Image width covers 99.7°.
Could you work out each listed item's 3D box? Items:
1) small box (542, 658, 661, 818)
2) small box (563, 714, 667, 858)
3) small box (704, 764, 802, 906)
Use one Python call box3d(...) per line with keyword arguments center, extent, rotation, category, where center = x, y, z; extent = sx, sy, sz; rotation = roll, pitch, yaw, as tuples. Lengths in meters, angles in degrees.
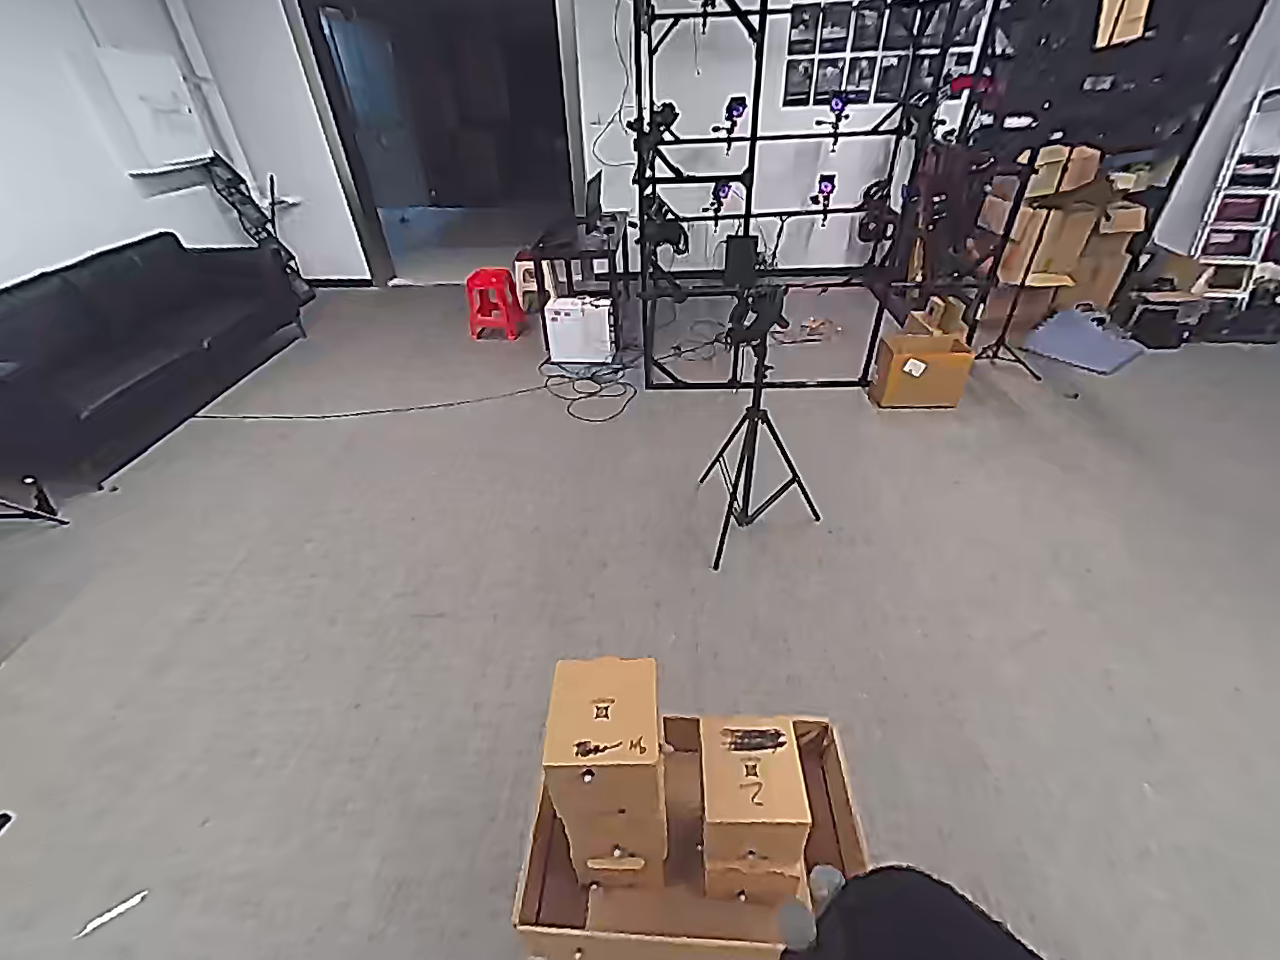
box3d(center=(-0.052, 0.411, 0.869), extent=(0.168, 0.176, 0.179), rotation=(-2, 36, 2), category="small box")
box3d(center=(-0.037, 0.543, 0.966), extent=(0.168, 0.176, 0.179), rotation=(-2, 37, 2), category="small box")
box3d(center=(0.208, 0.680, 1.039), extent=(0.168, 0.176, 0.179), rotation=(0, 37, 7), category="small box")
